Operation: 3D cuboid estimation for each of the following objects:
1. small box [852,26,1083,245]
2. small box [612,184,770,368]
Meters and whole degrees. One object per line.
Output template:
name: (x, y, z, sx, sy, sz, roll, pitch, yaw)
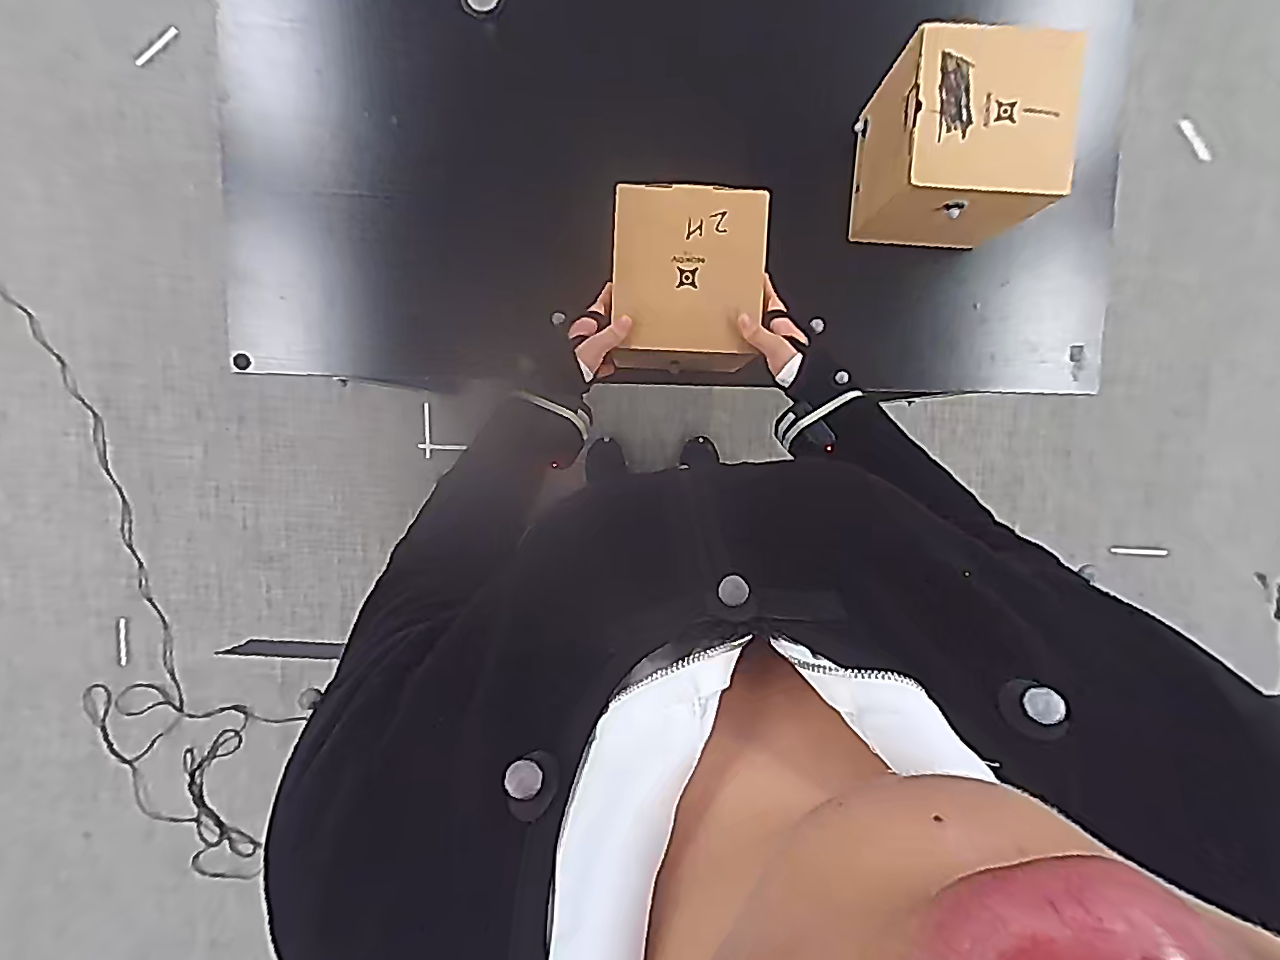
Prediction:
small box: (0.376, -0.399, 0.656, 0.179, 0.176, 0.168, 4, 95, 0)
small box: (0.056, -0.238, 0.673, 0.168, 0.176, 0.179, 3, 95, 0)
